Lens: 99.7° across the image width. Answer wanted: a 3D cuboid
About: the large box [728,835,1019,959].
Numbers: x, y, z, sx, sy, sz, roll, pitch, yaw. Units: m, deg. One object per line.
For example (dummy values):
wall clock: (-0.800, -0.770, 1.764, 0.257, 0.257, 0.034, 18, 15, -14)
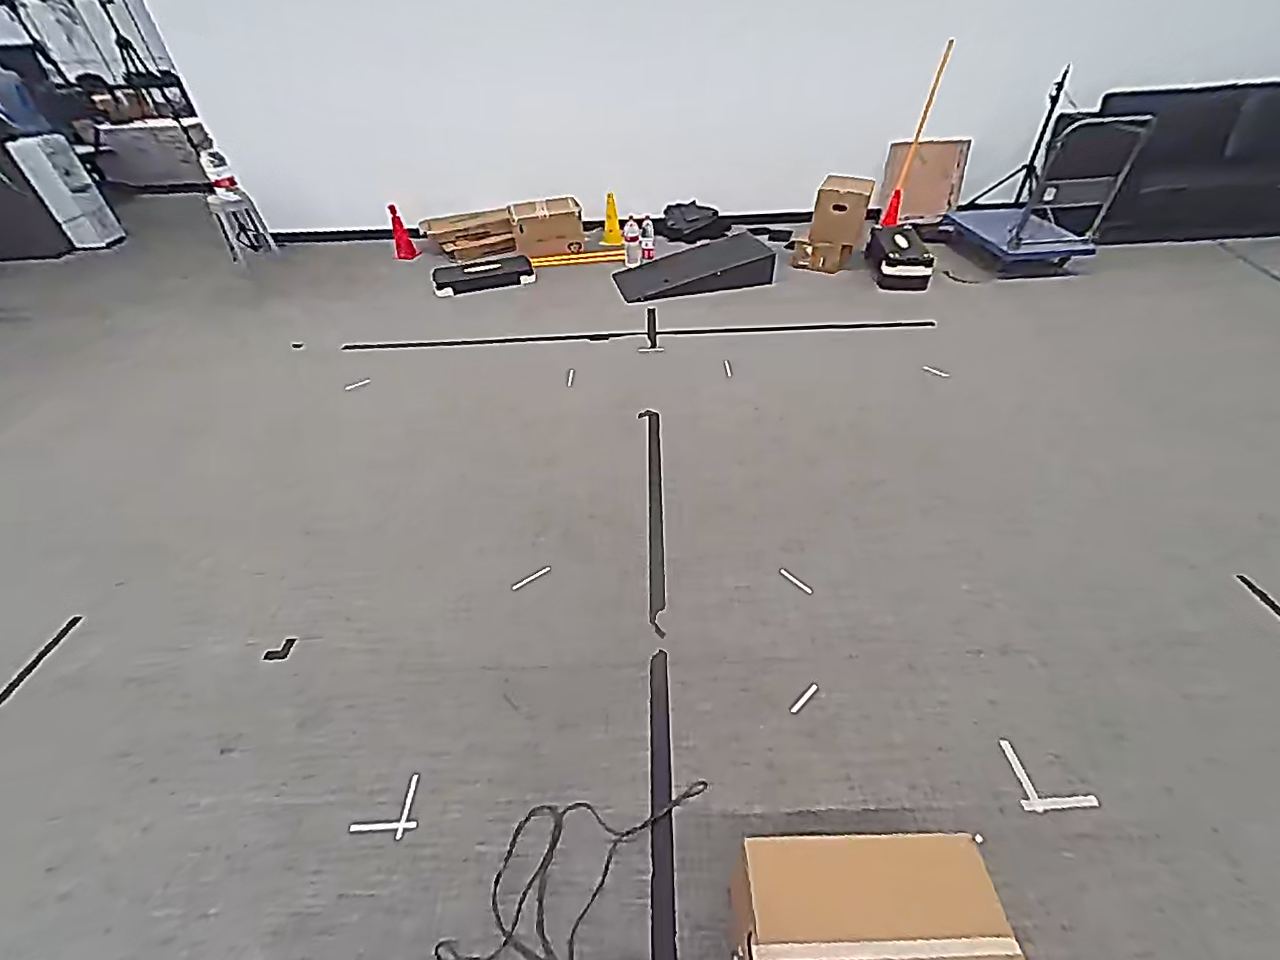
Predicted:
large box: (0.385, 0.848, 0.933, 0.408, 0.320, 0.320, -1, 41, 0)
